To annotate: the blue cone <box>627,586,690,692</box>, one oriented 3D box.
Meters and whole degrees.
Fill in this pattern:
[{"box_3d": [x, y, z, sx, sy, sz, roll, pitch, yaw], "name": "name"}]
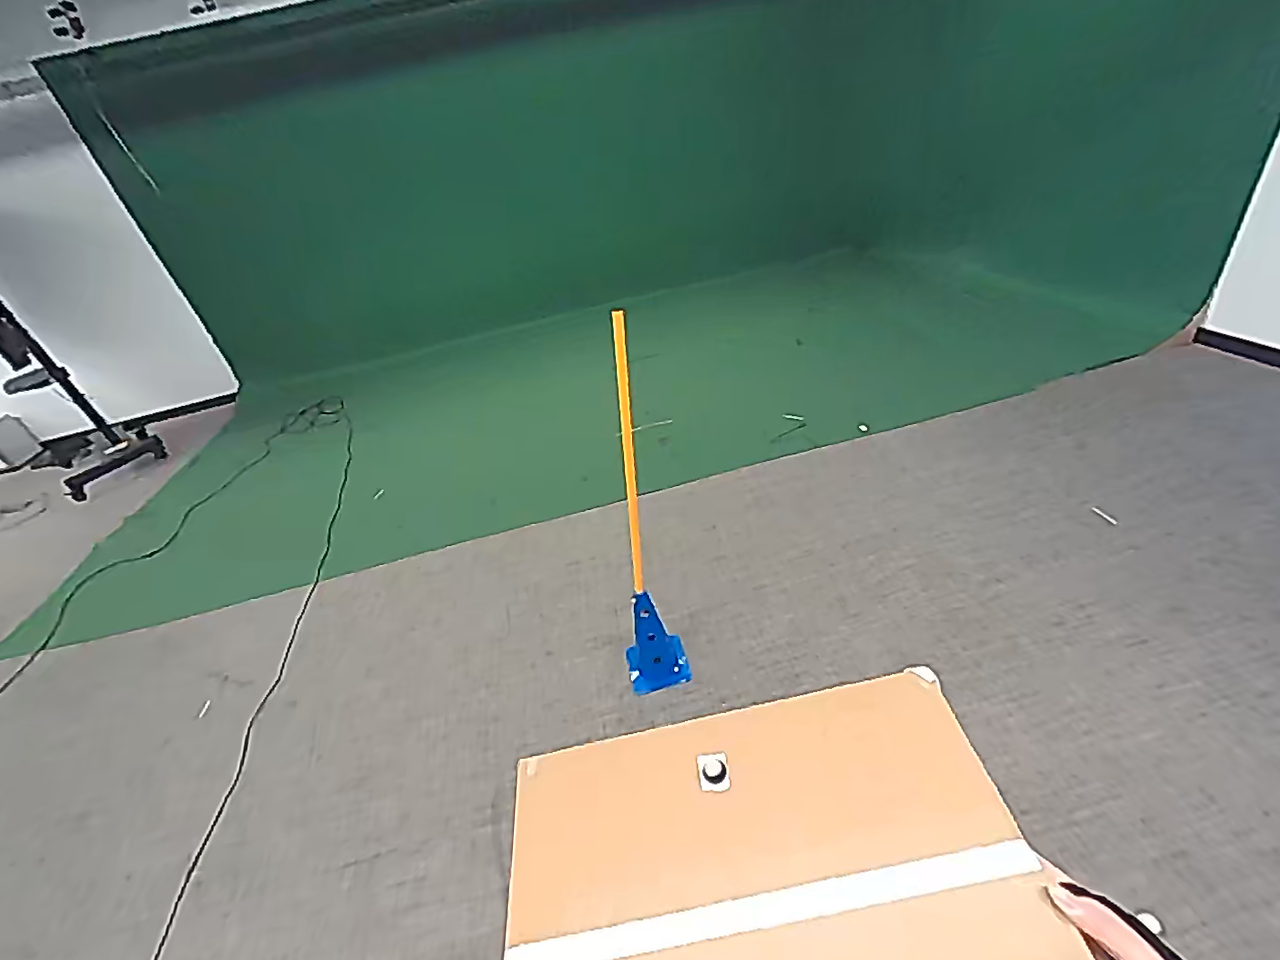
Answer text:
[{"box_3d": [0.033, 0.480, 1.735, 0.193, 0.380, 0.192, -15, 34, -6], "name": "blue cone"}]
